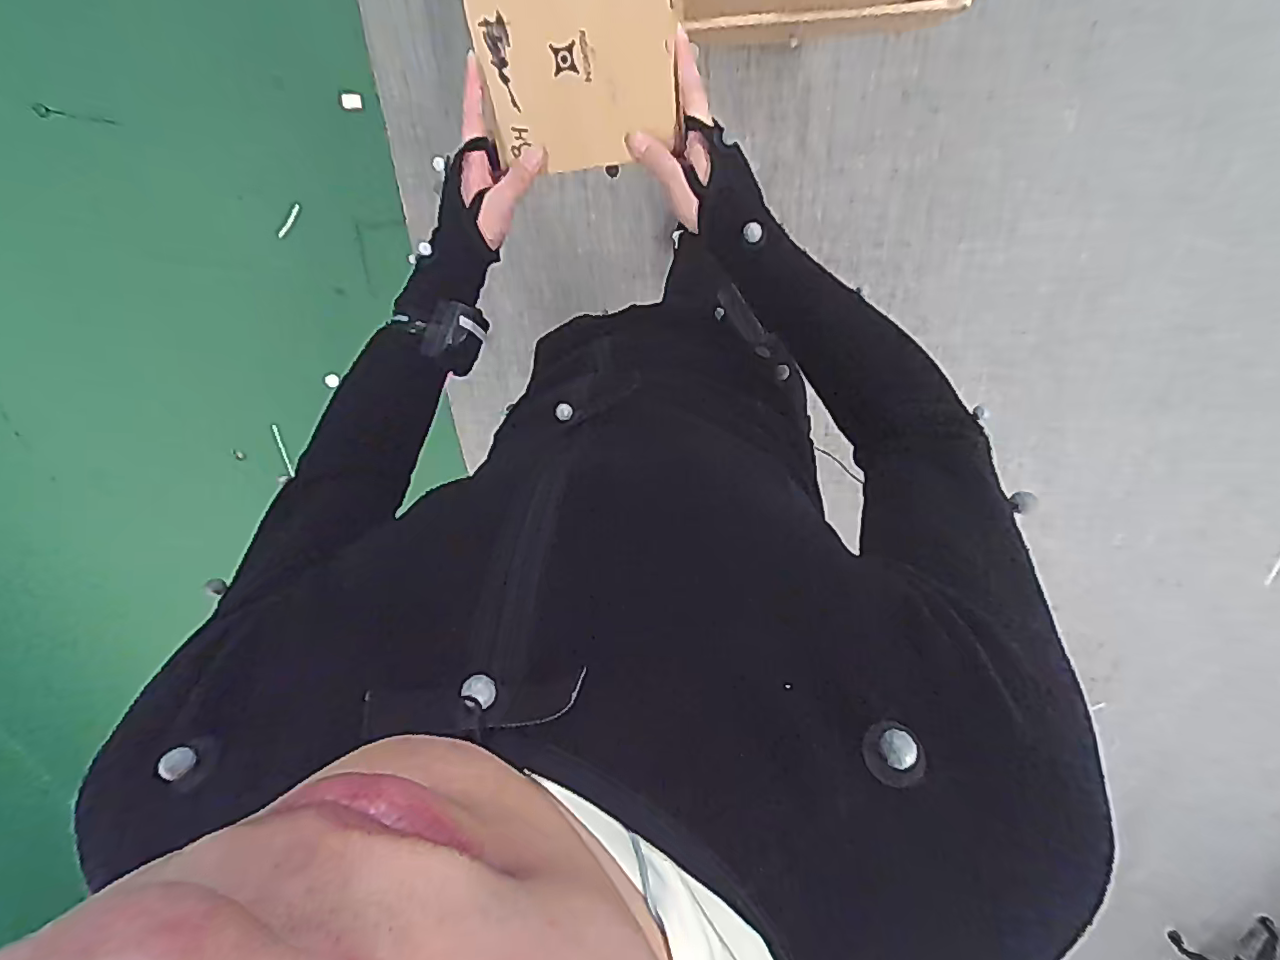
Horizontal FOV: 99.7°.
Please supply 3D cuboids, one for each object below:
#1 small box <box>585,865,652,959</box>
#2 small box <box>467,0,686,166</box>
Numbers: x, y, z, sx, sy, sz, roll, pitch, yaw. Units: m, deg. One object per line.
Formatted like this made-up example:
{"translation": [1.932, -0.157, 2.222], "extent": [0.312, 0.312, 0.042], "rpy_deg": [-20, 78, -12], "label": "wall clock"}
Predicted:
{"translation": [-0.054, 1.232, 1.530], "extent": [0.168, 0.176, 0.179], "rpy_deg": [2, 119, 6], "label": "small box"}
{"translation": [-0.047, -0.413, 0.522], "extent": [0.179, 0.176, 0.168], "rpy_deg": [-2, 124, 8], "label": "small box"}
